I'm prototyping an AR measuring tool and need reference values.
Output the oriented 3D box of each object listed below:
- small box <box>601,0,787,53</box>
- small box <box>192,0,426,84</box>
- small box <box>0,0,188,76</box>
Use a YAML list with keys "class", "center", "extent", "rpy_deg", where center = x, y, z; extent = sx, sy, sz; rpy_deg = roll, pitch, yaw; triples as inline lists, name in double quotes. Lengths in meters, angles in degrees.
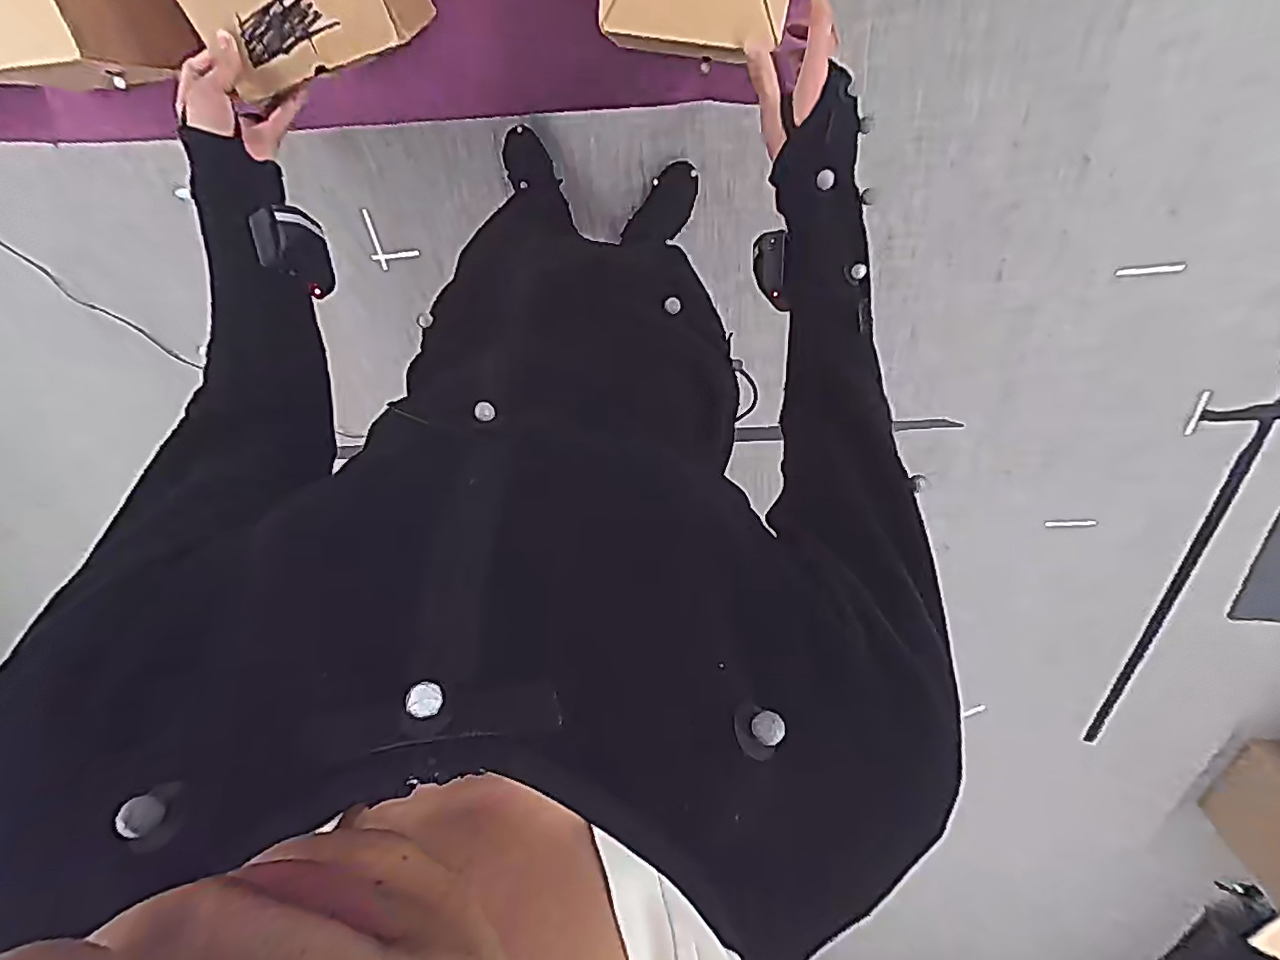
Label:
- class: "small box"
  center: [0.060, -0.515, 0.495]
  extent: [0.168, 0.176, 0.179]
  rpy_deg: [8, 124, 2]
- class: "small box"
  center: [-0.319, -0.505, 0.491]
  extent: [0.168, 0.176, 0.179]
  rpy_deg: [-14, 136, 8]
- class: "small box"
  center: [-0.626, -0.532, 0.558]
  extent: [0.179, 0.176, 0.168]
  rpy_deg: [-2, 122, 6]
